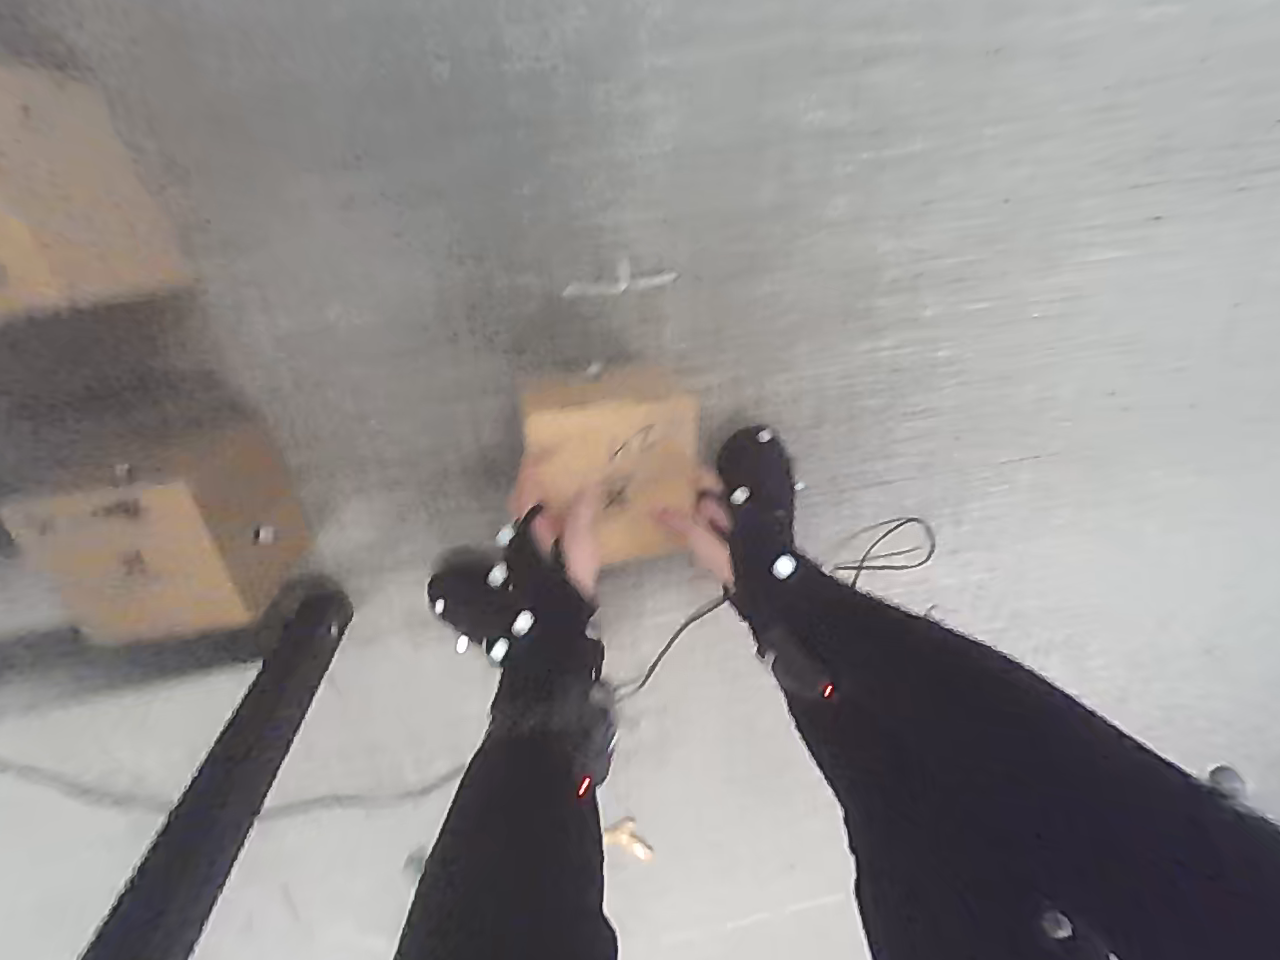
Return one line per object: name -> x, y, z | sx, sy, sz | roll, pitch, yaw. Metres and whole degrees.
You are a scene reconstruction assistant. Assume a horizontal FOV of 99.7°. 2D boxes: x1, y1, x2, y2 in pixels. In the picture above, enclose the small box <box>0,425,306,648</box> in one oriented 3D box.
small box -> -0.510, 0.055, 0.603 | 0.168, 0.176, 0.179 | -8, 116, -6
